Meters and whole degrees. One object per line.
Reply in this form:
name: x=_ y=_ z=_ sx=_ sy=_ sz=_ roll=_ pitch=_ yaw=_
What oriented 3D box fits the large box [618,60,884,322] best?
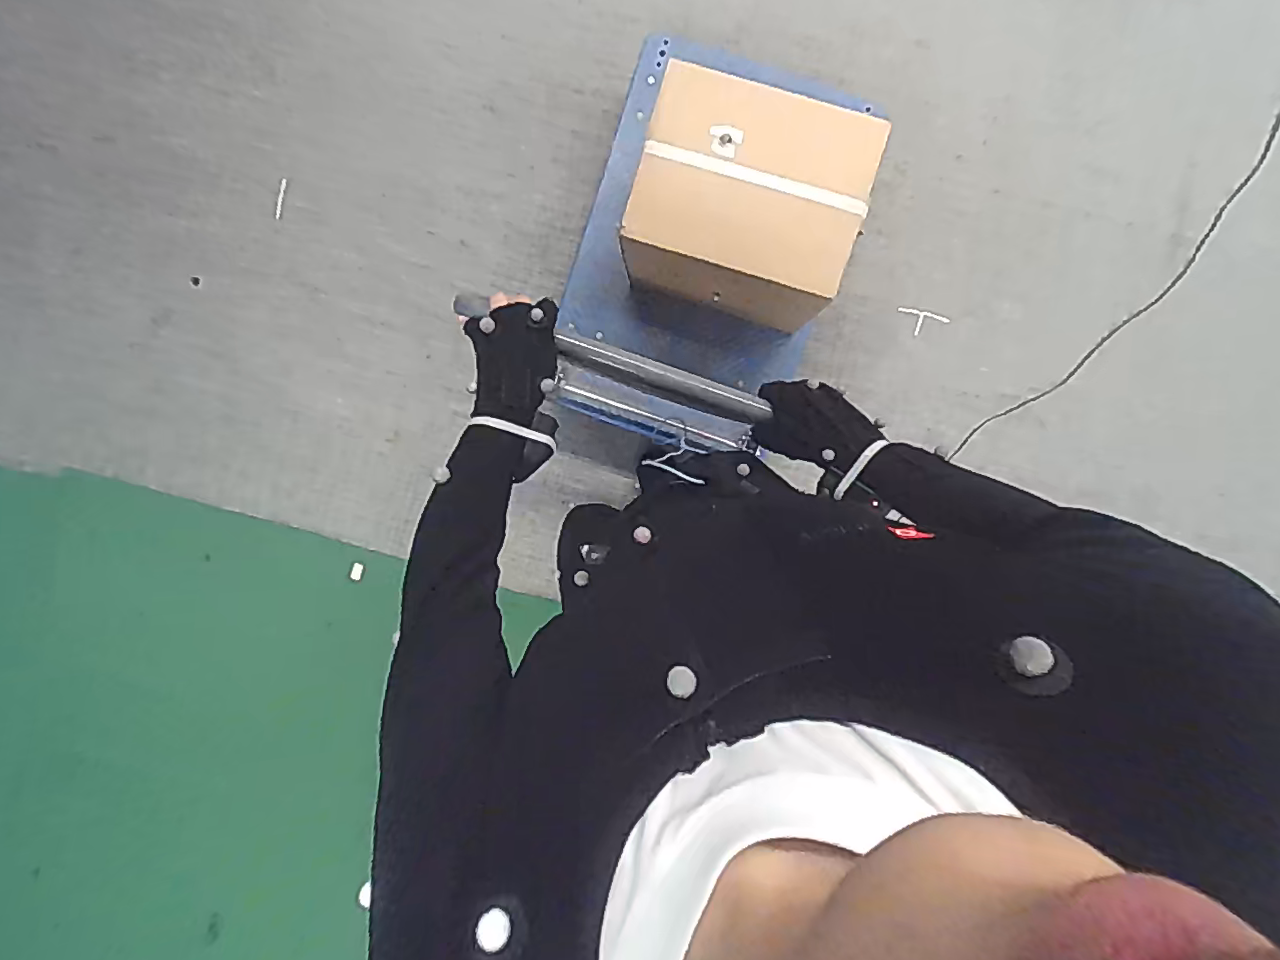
large box: x=0.203 y=-0.549 z=1.100 sx=0.408 sy=0.320 sz=0.320 roll=18 pitch=95 yaw=3
